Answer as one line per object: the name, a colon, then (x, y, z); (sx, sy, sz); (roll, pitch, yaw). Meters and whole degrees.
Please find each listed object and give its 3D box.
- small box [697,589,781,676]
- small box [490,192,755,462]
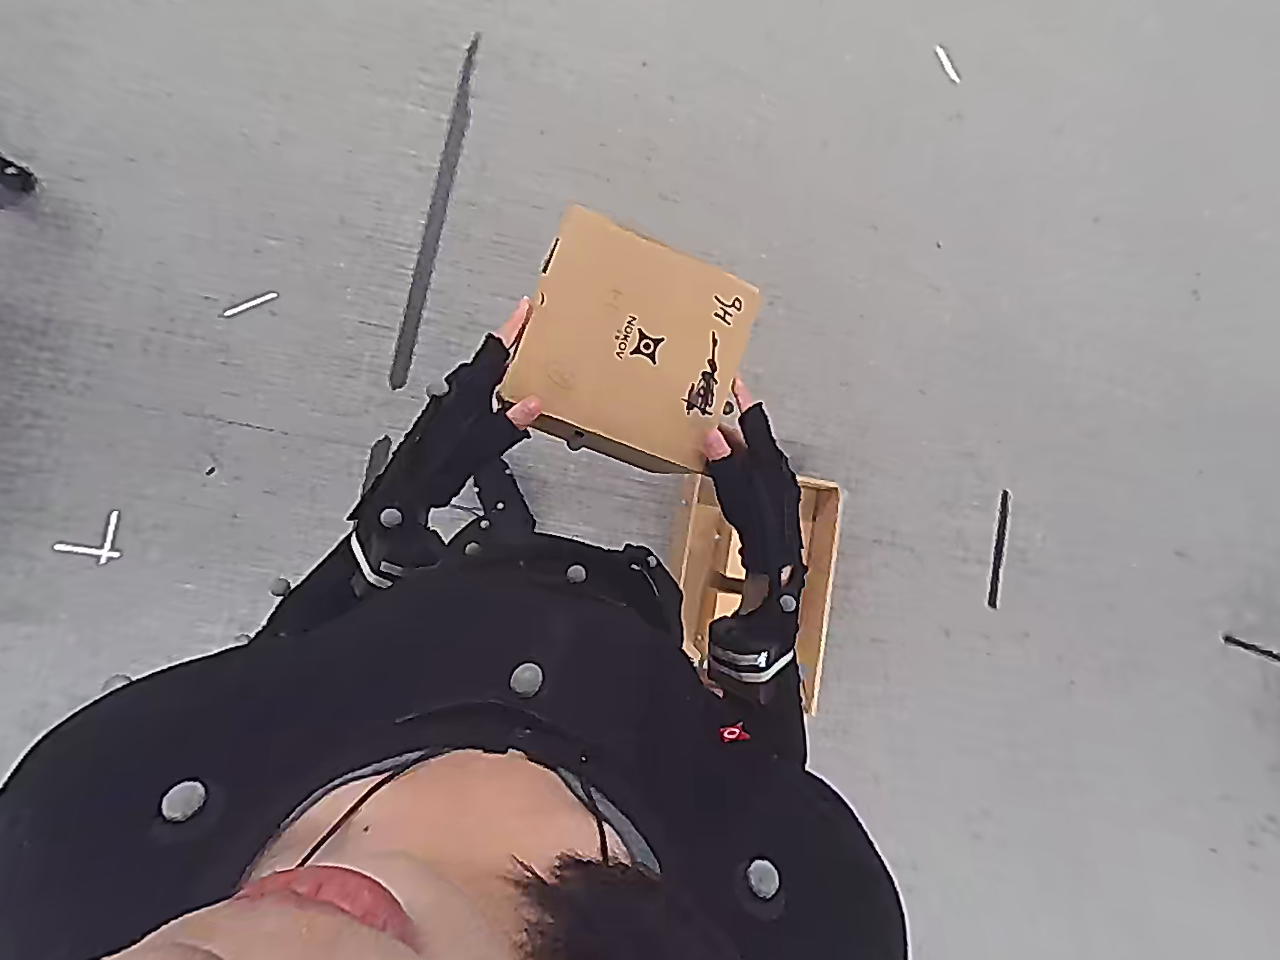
small box: (0.253, 0.395, 1.421); (0.168, 0.176, 0.179); (10, 84, -5)
small box: (-0.024, -0.120, 0.505); (0.179, 0.176, 0.168); (19, 85, -10)
